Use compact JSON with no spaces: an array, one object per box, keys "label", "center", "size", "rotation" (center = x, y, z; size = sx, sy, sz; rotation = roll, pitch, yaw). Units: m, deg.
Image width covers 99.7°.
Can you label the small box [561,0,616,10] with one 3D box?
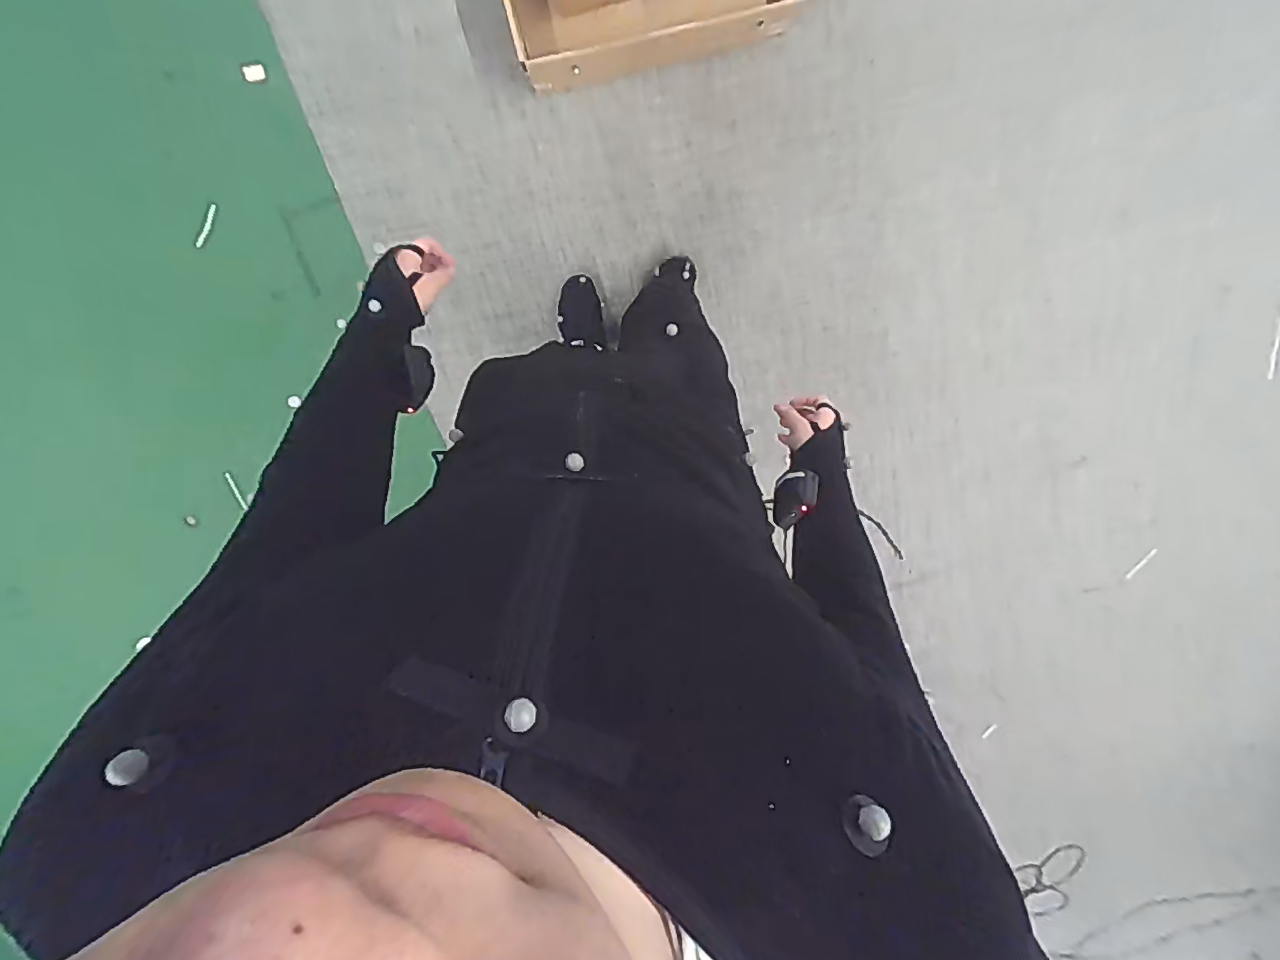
[{"label":"small box","center":[-0.098,-1.071,1.065],"size":[0.168,0.176,0.179],"rotation":[-15,114,0]}]
